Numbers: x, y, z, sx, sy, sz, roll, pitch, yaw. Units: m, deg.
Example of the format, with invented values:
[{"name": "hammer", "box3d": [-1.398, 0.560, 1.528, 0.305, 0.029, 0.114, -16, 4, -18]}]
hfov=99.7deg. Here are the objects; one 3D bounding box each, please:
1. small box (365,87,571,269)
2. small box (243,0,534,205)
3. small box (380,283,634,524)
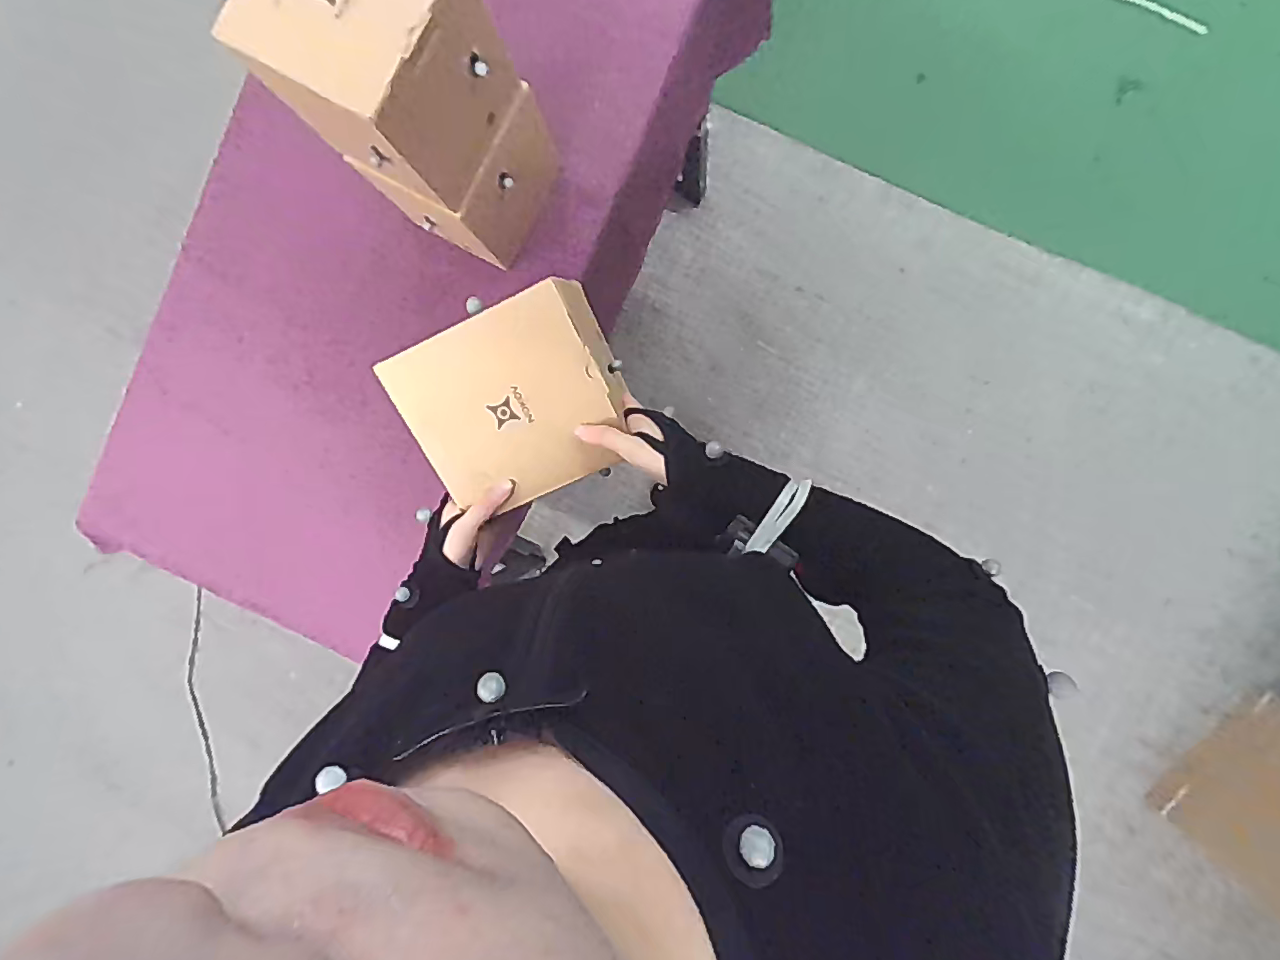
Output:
[{"name": "small box", "box3d": [-0.211, -0.415, 0.717, 0.168, 0.176, 0.179, 32, 93, 5]}, {"name": "small box", "box3d": [-0.236, -0.420, 0.556, 0.179, 0.176, 0.168, 33, 93, 6]}, {"name": "small box", "box3d": [-0.115, -0.083, 0.553, 0.179, 0.176, 0.168, -23, 106, 8]}]
